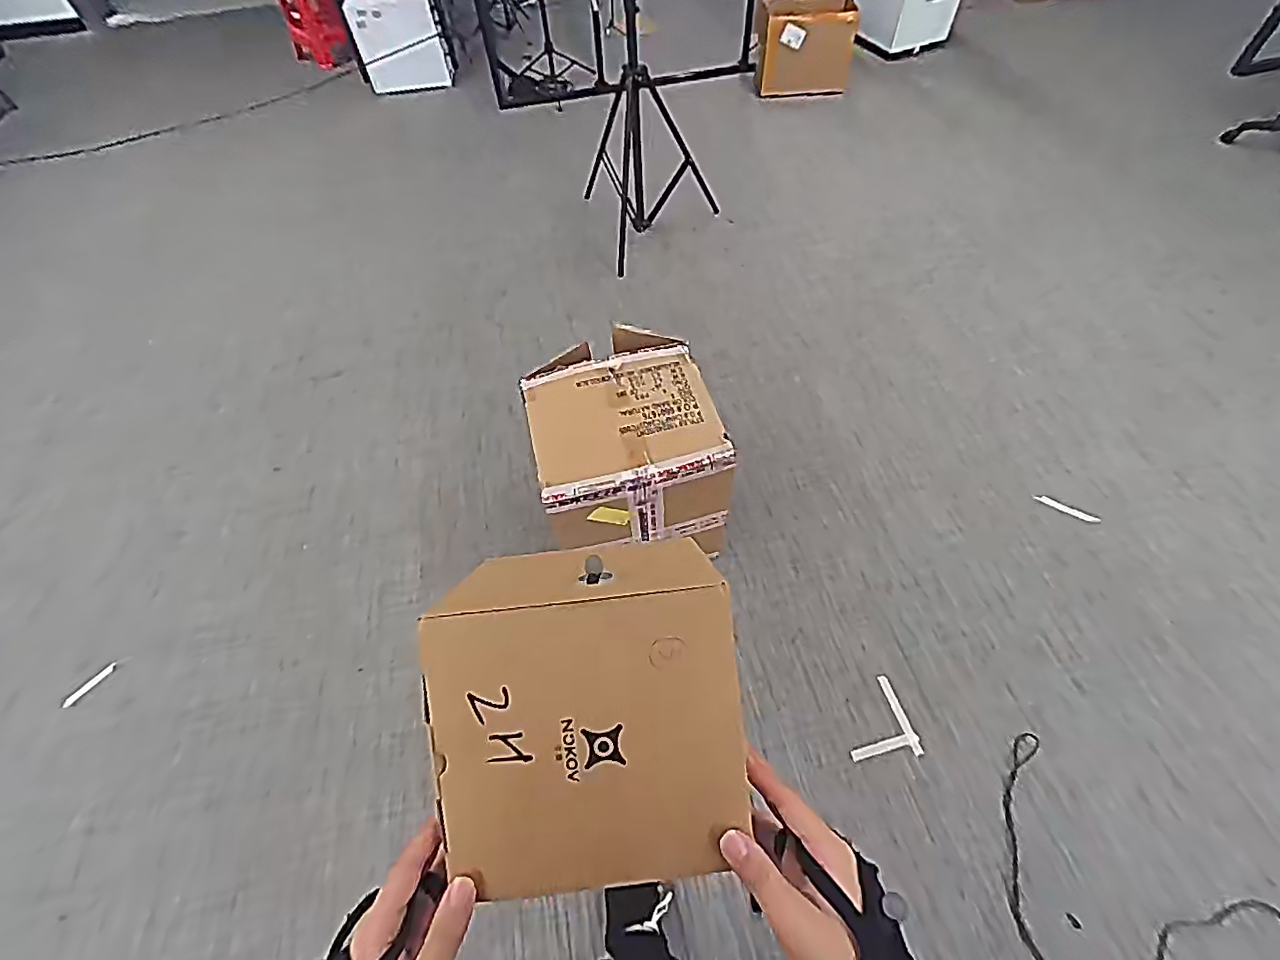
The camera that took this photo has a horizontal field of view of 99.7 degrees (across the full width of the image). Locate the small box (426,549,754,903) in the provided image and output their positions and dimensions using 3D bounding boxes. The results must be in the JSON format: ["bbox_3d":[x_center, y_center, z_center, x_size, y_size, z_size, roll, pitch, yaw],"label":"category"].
[{"bbox_3d":[-0.030,0.148,0.387,0.179,0.176,0.168,-6,92,-1],"label":"small box"}]
